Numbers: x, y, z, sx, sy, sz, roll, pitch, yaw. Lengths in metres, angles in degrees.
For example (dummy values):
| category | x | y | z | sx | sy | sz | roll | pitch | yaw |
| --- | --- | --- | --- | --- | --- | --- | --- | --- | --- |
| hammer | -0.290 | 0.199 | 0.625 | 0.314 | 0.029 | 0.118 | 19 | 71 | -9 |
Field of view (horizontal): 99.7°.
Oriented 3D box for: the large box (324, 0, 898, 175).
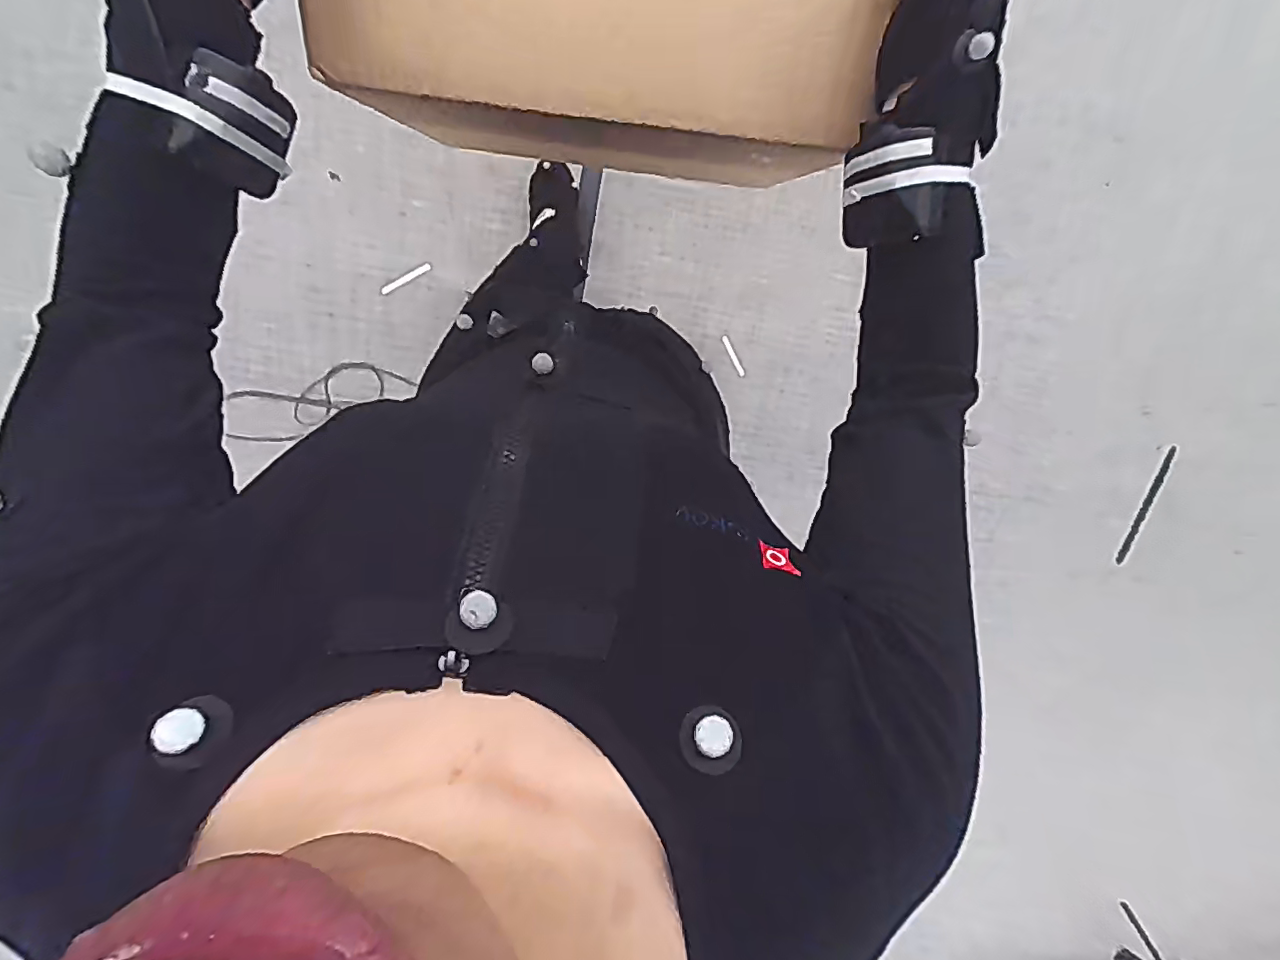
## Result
| category | x | y | z | sx | sy | sz | roll | pitch | yaw |
| --- | --- | --- | --- | --- | --- | --- | --- | --- | --- |
| large box | -0.017 | -0.475 | 0.473 | 0.408 | 0.320 | 0.320 | 4 | 115 | -5 |
